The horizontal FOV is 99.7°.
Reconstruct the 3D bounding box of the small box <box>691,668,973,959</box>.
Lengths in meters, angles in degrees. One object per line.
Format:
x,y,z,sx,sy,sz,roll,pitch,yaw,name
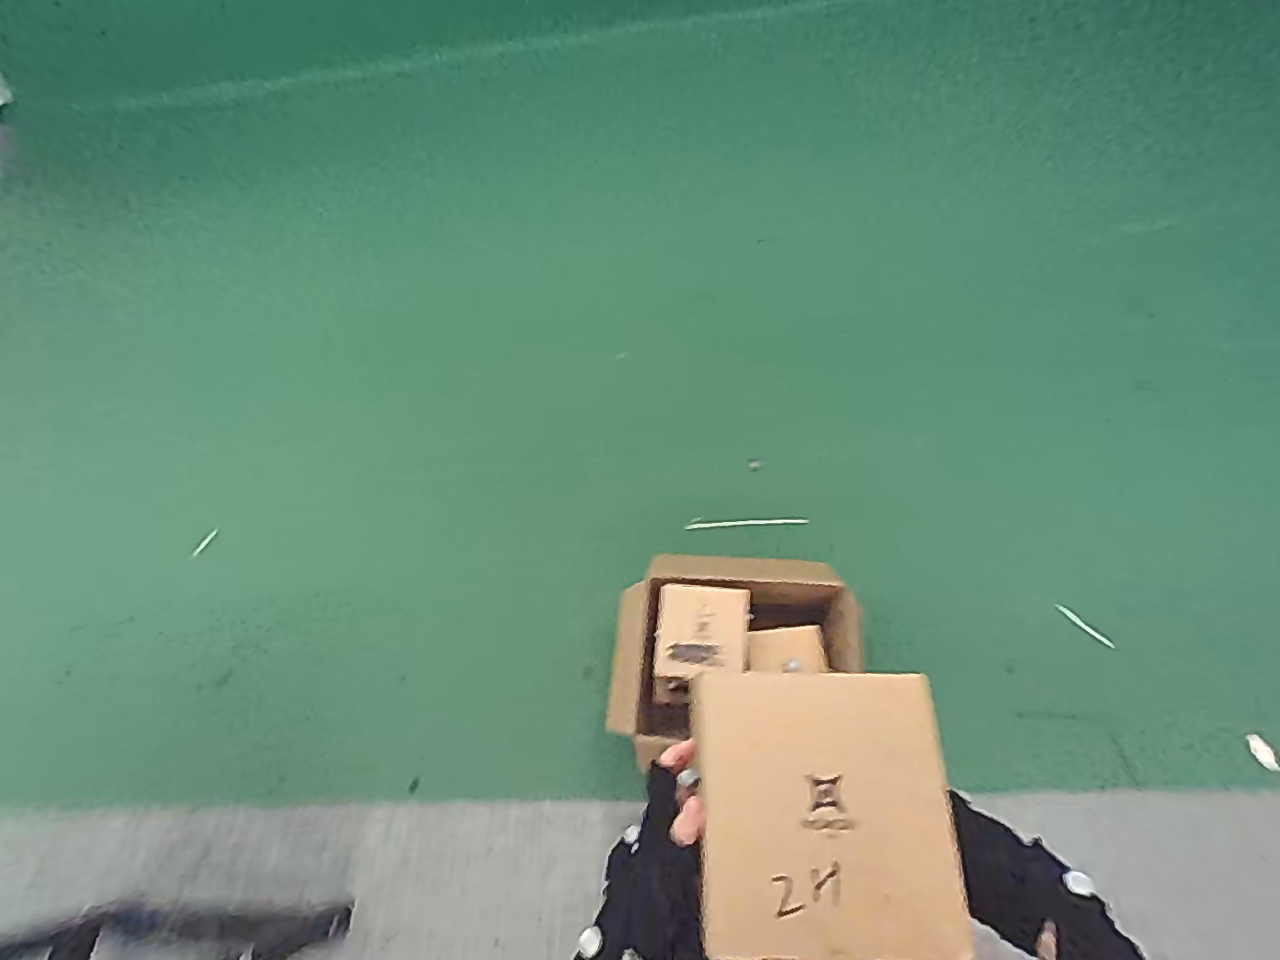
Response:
0.128,0.254,0.440,0.168,0.176,0.179,0,67,3,small box
